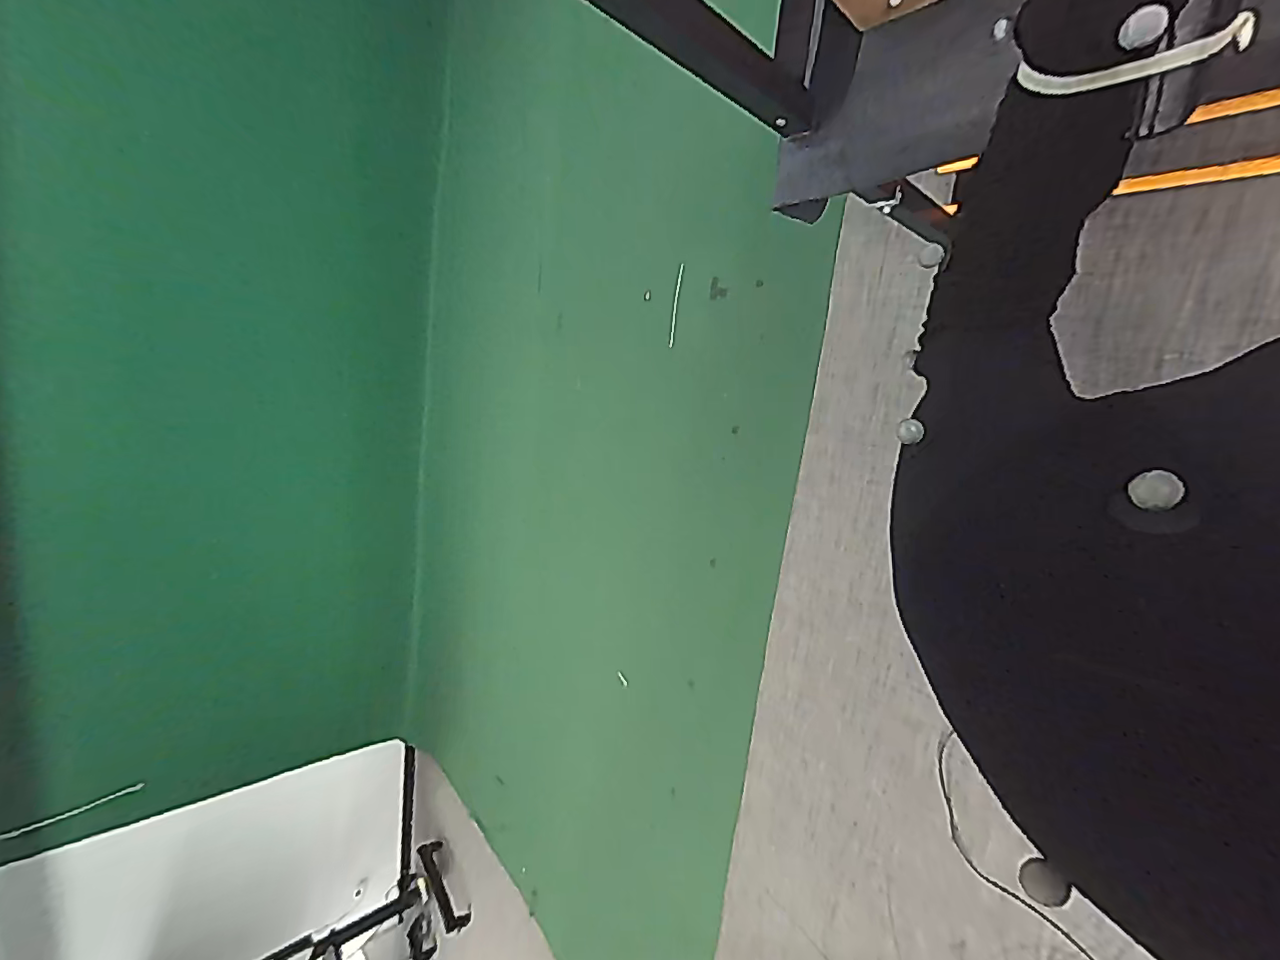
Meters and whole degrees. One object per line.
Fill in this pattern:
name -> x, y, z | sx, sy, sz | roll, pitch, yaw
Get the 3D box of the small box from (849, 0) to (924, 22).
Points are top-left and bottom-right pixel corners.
small box -> 0.333, -0.738, 0.674 | 0.168, 0.176, 0.179 | 17, 105, 46
